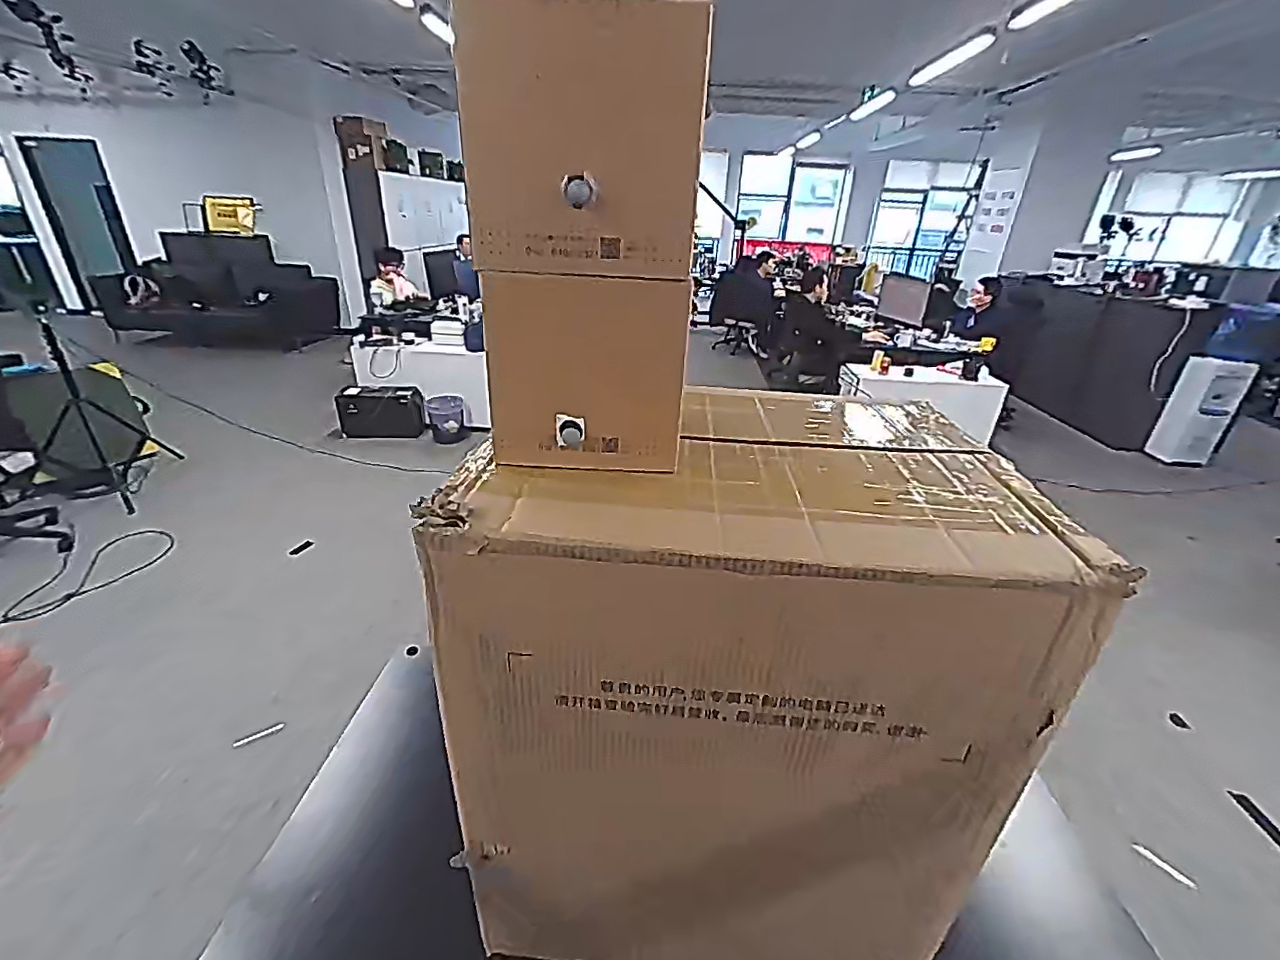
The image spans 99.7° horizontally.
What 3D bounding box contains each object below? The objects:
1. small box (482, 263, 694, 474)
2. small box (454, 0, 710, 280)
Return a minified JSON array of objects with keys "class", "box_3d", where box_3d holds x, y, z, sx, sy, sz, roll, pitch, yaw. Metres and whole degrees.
[{"class":"small box","box_3d":[-0.045,-0.120,0.520,0.168,0.176,0.179,1,28,-3]},{"class":"small box","box_3d":[-0.040,-0.266,0.443,0.168,0.176,0.179,2,27,-1]}]
